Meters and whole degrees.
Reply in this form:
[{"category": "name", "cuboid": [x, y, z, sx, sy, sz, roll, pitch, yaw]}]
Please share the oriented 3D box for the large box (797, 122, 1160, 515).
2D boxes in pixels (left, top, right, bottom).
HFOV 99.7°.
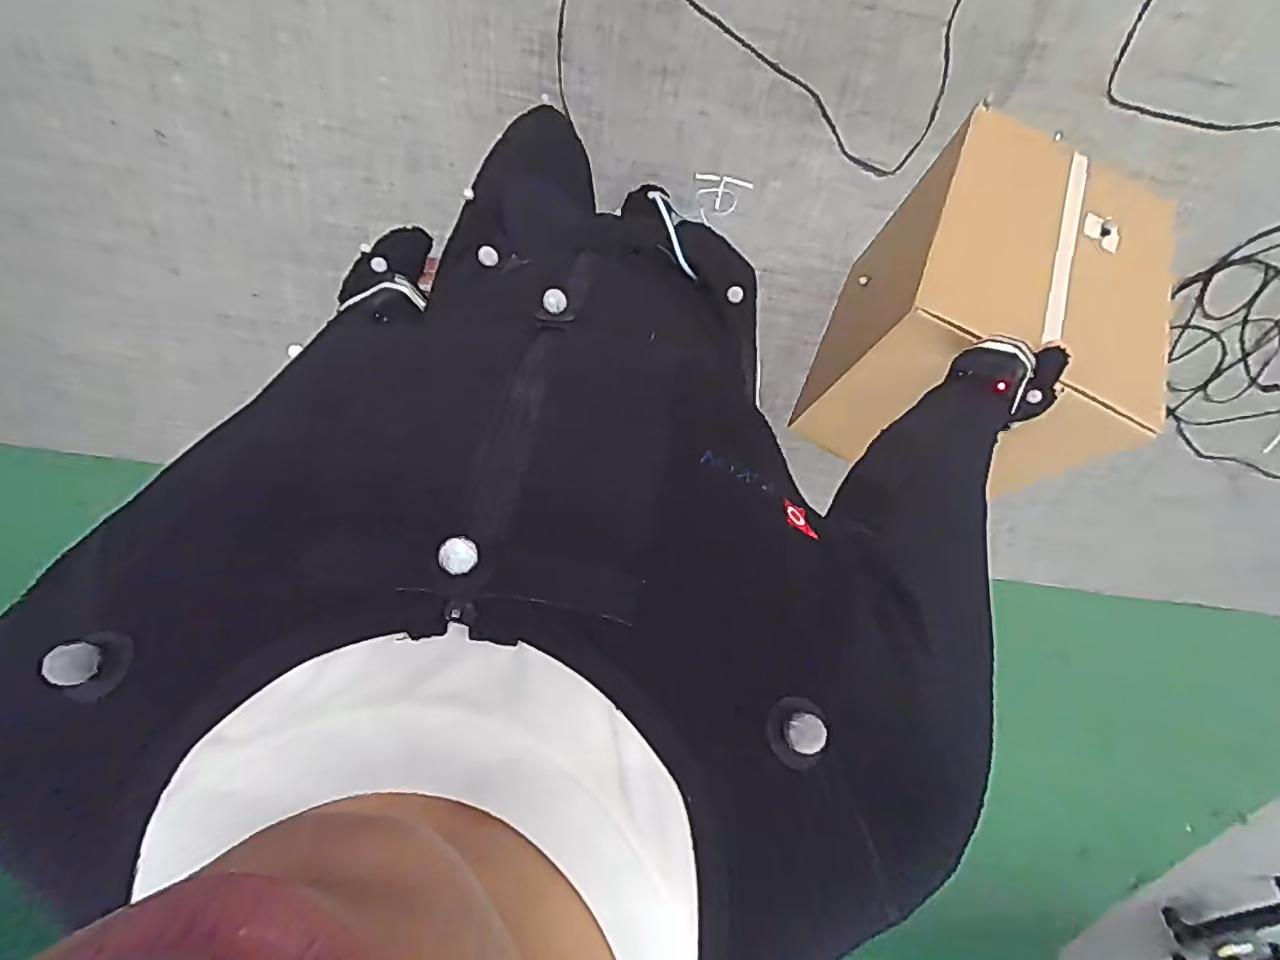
[{"category": "large box", "cuboid": [0.487, -0.218, 0.813, 0.320, 0.408, 0.320, 28, 156, -2]}]
